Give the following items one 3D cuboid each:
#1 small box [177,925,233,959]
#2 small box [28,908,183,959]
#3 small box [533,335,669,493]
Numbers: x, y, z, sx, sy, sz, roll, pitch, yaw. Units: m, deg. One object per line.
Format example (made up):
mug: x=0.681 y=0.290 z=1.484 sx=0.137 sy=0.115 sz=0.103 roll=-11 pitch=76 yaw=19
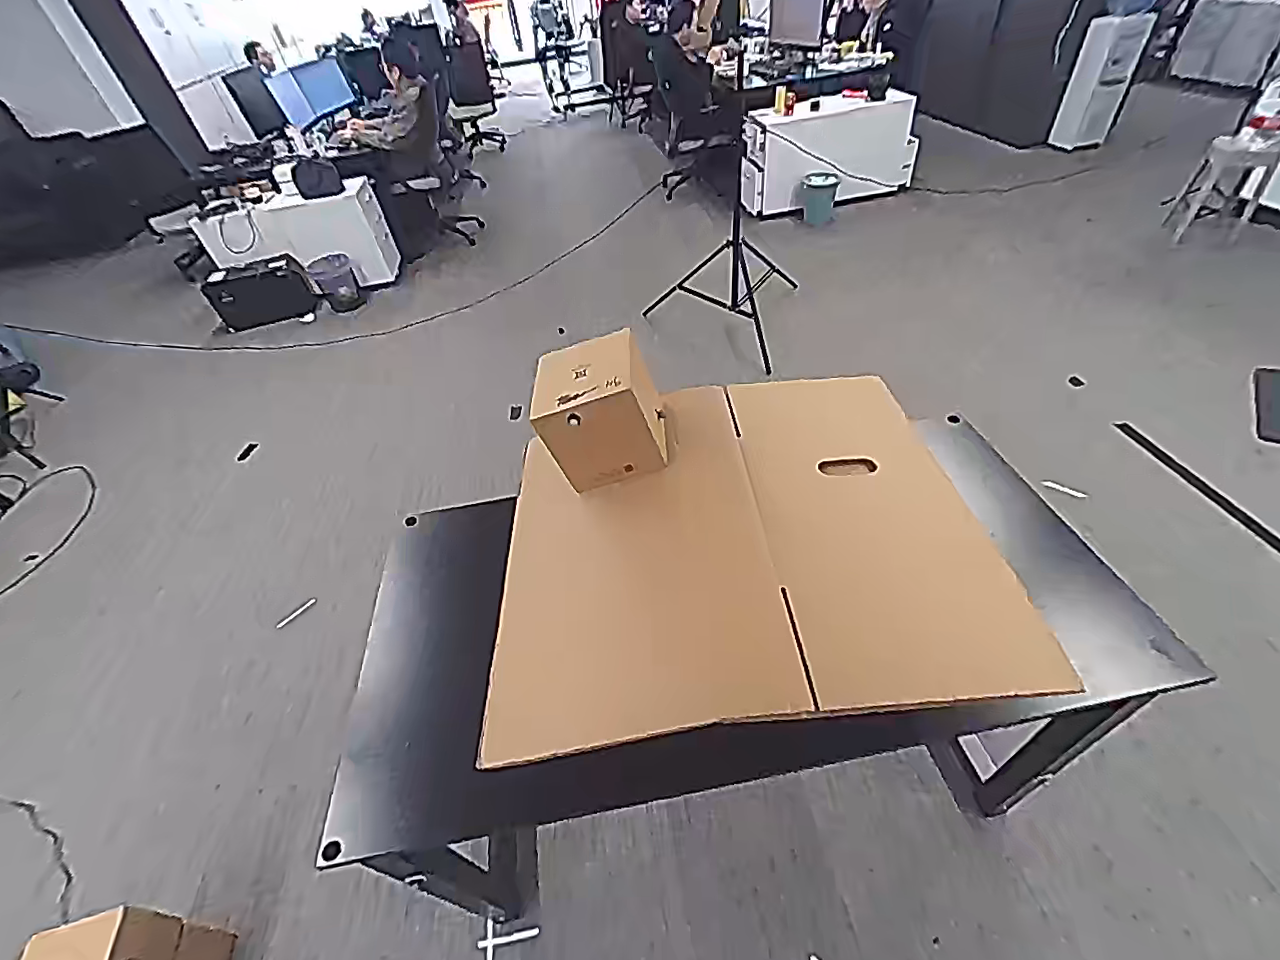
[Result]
small box: x=-0.996 y=1.067 z=1.123 sx=0.168 sy=0.176 sz=0.179 roll=-13 pitch=45 yaw=-5
small box: x=-1.017 y=0.948 z=1.015 sx=0.168 sy=0.176 sz=0.179 roll=-15 pitch=43 yaw=-8
small box: x=-0.057 y=-0.107 z=0.900 sx=0.168 sy=0.176 sz=0.179 roll=-16 pitch=42 yaw=13
